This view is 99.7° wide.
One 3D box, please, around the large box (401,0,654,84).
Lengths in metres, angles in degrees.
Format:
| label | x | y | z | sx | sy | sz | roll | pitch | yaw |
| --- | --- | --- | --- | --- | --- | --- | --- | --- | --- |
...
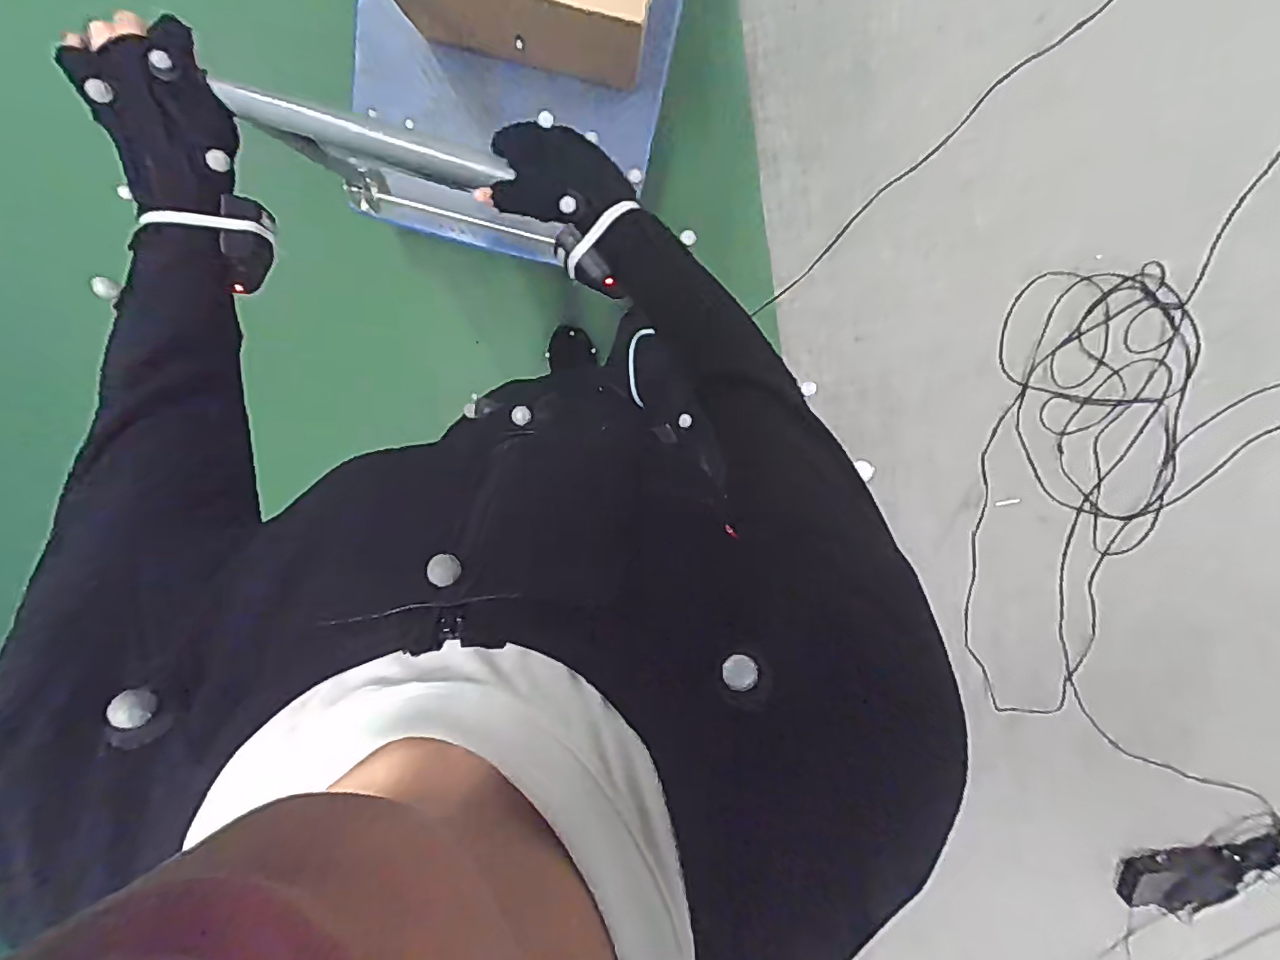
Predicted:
| label | x | y | z | sx | sy | sz | roll | pitch | yaw |
| --- | --- | --- | --- | --- | --- | --- | --- | --- | --- |
| large box | -0.165 | -0.882 | 0.844 | 0.408 | 0.320 | 0.320 | 10 | 110 | -6 |
